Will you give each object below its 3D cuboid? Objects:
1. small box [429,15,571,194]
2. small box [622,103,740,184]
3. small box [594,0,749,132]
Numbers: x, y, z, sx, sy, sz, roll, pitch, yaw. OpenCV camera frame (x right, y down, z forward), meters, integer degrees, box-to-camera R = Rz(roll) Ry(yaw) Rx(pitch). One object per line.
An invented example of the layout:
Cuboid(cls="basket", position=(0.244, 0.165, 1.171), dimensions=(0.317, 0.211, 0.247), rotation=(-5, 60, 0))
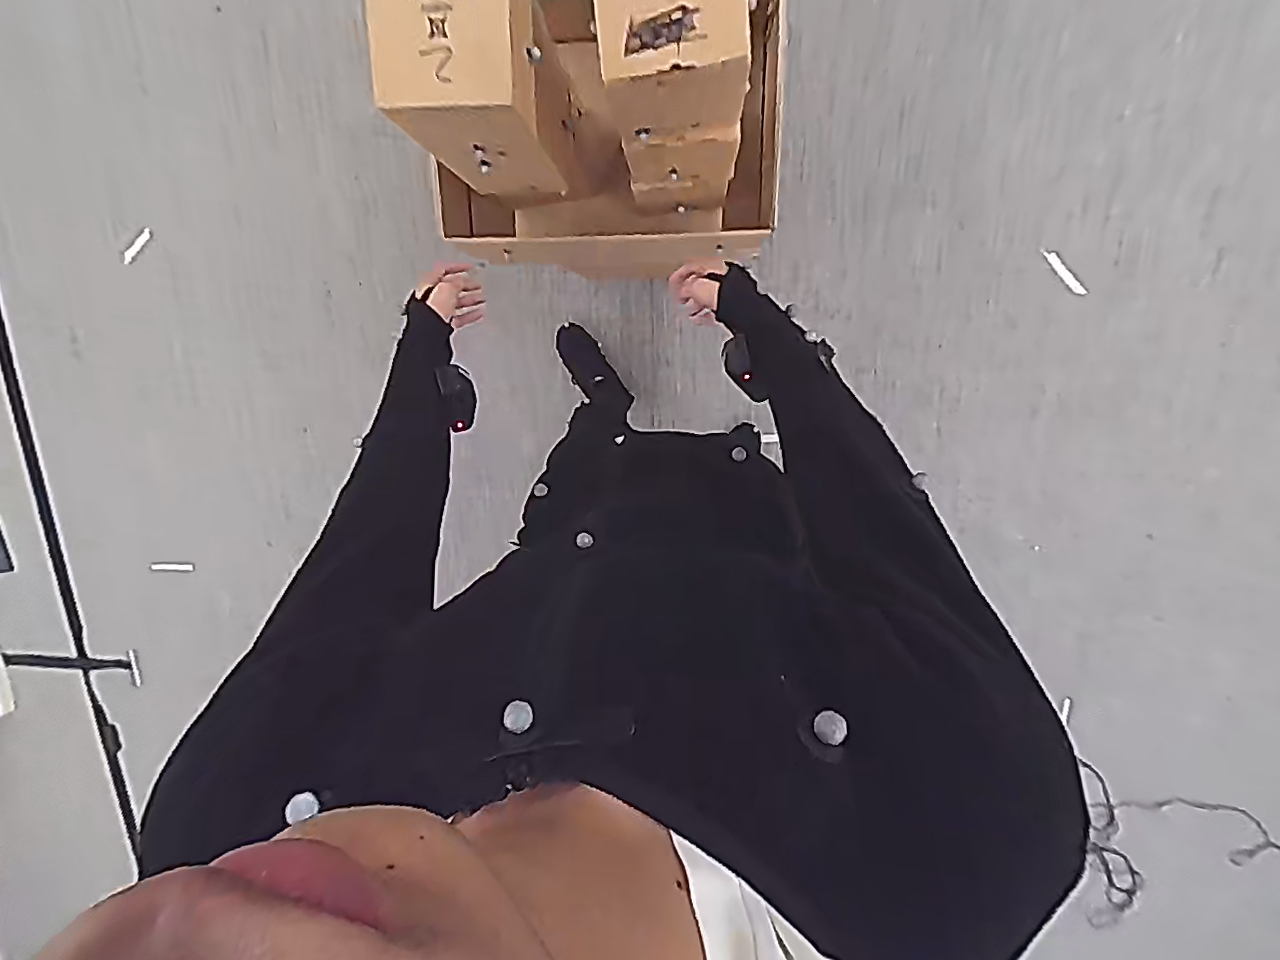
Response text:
Cuboid(cls="small box", position=(-0.207, -0.566, 0.837), dimensions=(0.168, 0.176, 0.179), rotation=(1, 101, 6))
Cuboid(cls="small box", position=(0.060, -0.571, 0.813), dimensions=(0.168, 0.176, 0.179), rotation=(-2, 103, 6))
Cuboid(cls="small box", position=(0.038, -0.548, 0.651), dimensions=(0.168, 0.176, 0.179), rotation=(-5, 101, 6))
